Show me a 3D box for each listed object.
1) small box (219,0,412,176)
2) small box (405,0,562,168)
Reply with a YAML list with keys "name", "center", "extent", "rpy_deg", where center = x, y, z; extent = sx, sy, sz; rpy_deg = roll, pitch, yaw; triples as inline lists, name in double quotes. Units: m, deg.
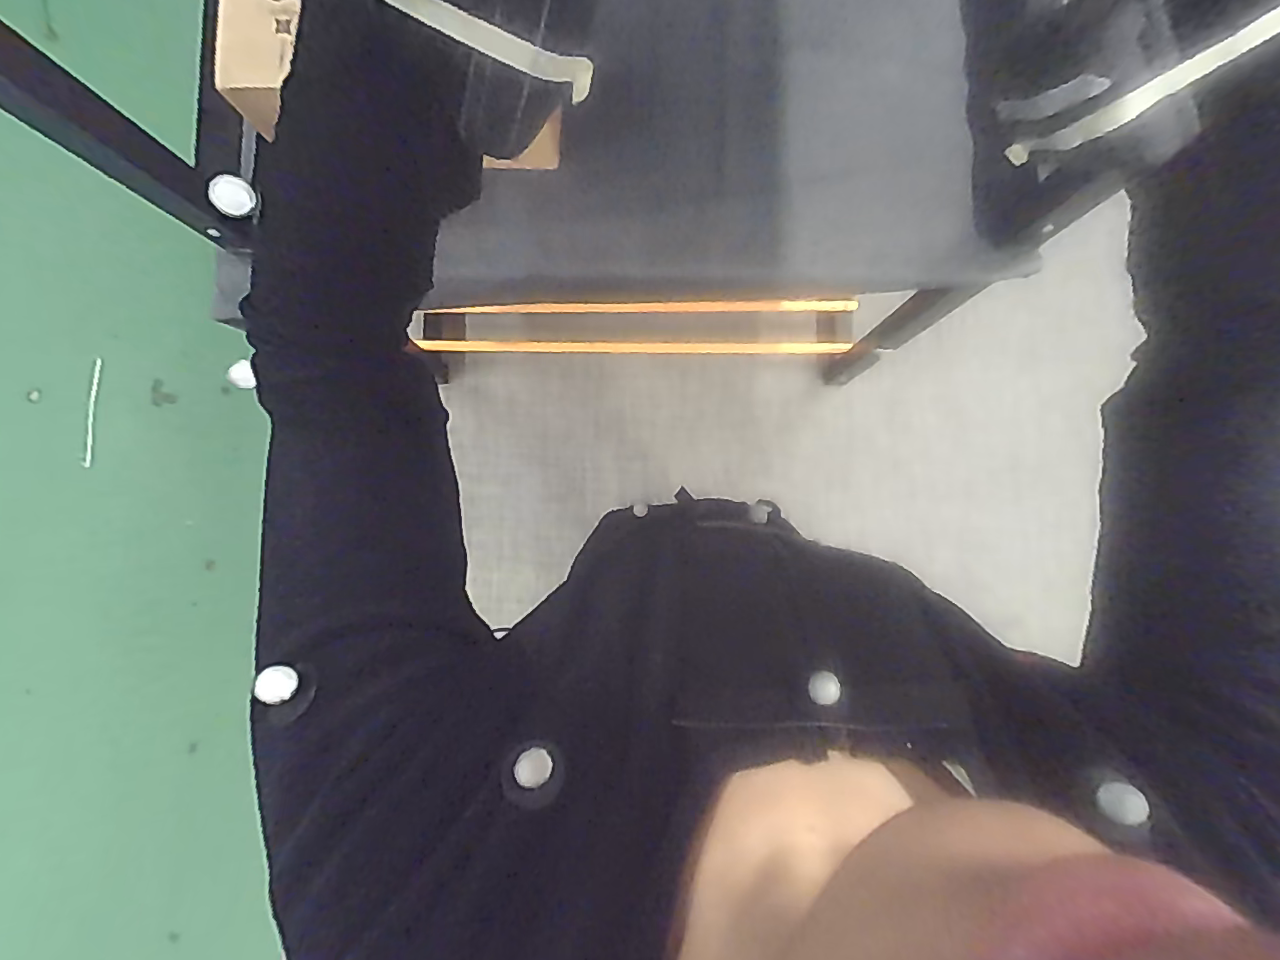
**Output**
- name: "small box"
  center: [-0.430, -0.557, 0.746]
  extent: [0.168, 0.176, 0.179]
  rpy_deg: [1, 86, 1]
- name: "small box"
  center: [-0.203, -0.562, 0.745]
  extent: [0.168, 0.176, 0.179]
  rpy_deg: [2, 85, 1]
